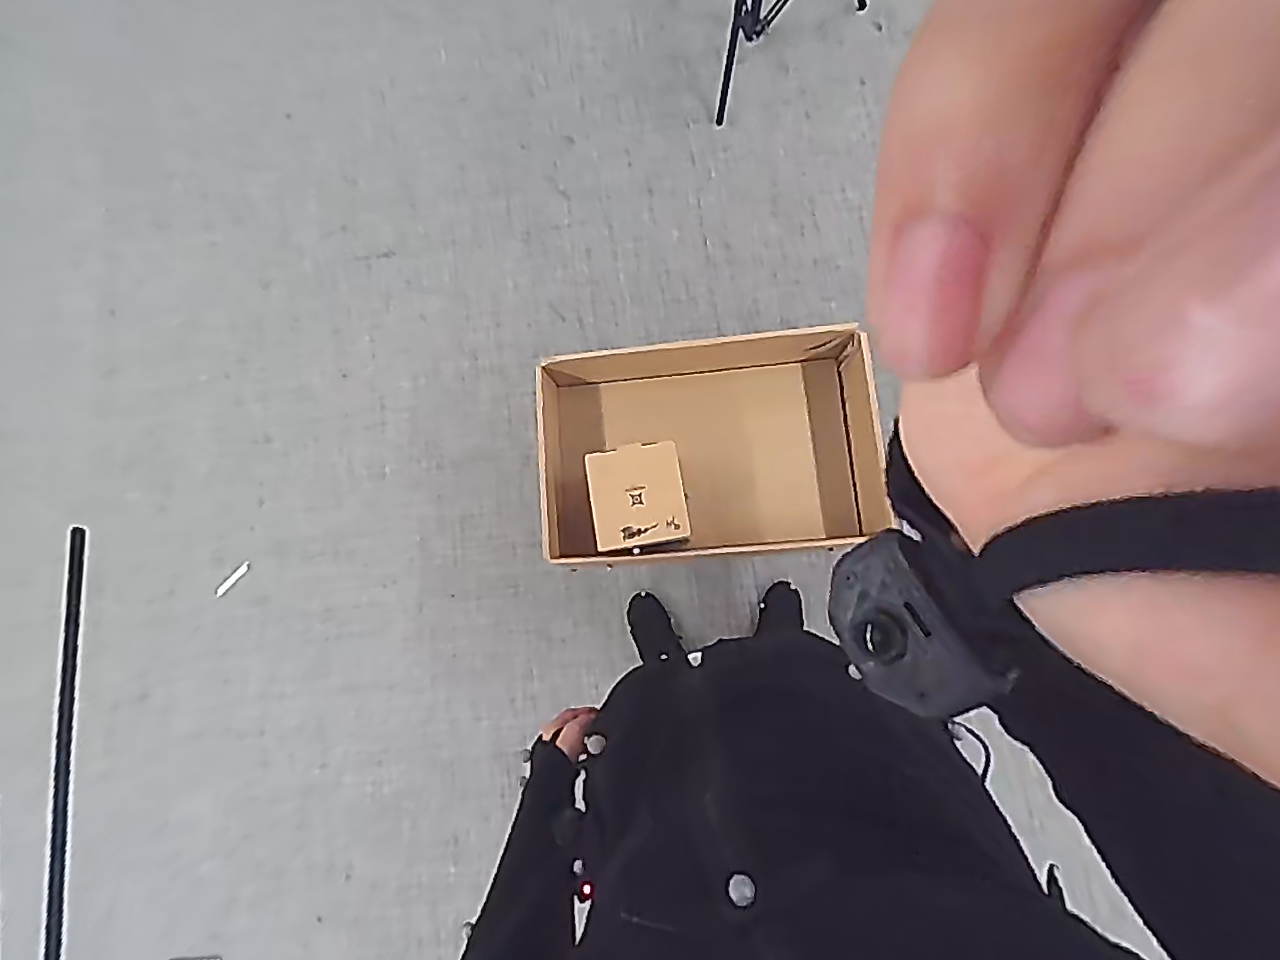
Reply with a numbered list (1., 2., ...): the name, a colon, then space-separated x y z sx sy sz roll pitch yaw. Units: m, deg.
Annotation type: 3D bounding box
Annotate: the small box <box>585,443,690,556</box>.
1. small box: 0.000 0.044 1.023 0.168 0.176 0.179 -10 79 4
